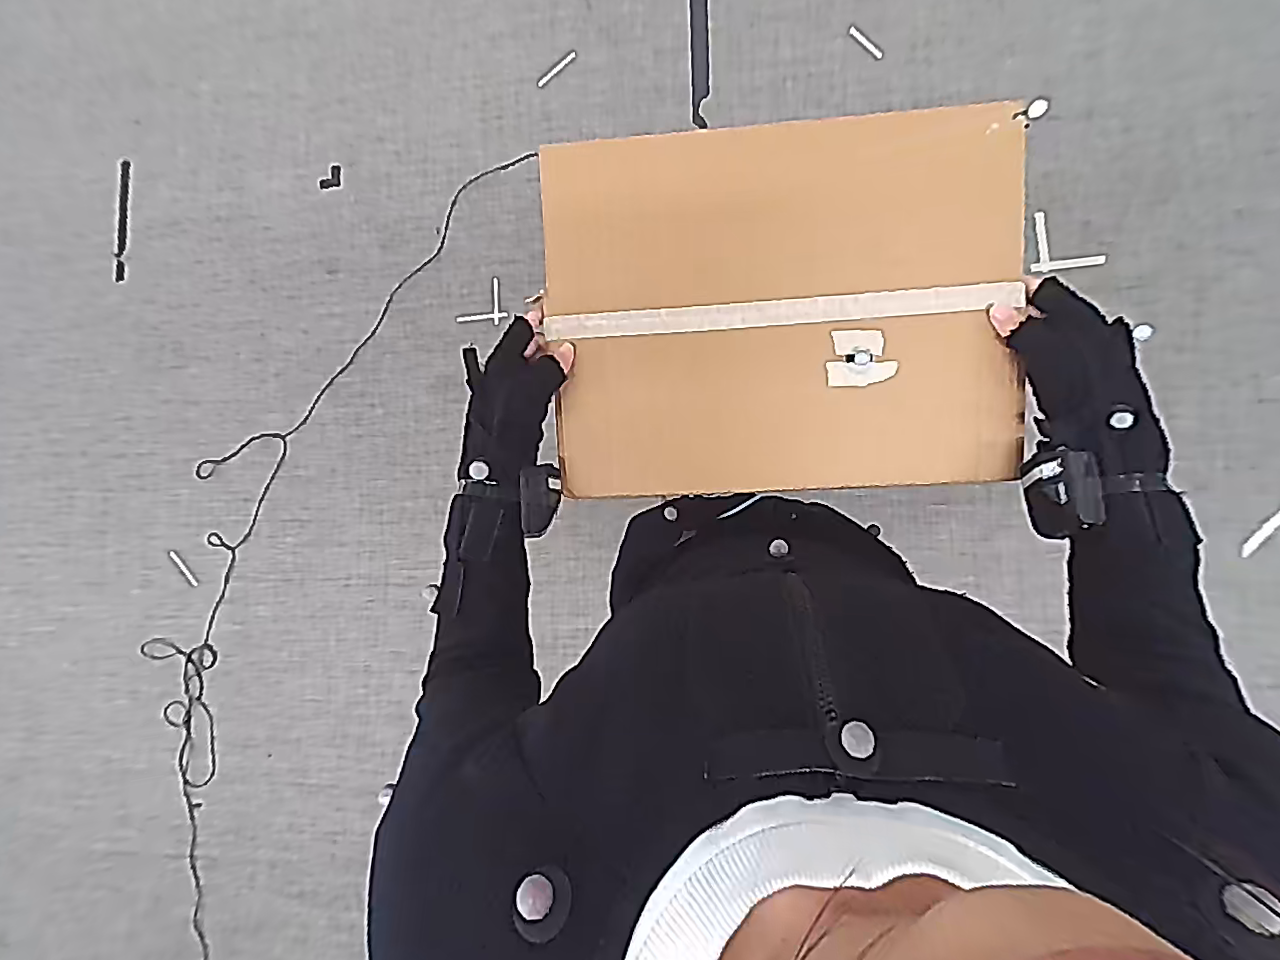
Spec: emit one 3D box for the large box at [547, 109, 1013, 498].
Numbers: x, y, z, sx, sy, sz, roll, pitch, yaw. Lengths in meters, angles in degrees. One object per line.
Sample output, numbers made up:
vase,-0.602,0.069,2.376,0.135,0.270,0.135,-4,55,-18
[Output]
large box,0.132,-0.161,0.630,0.408,0.320,0.320,-3,95,4
